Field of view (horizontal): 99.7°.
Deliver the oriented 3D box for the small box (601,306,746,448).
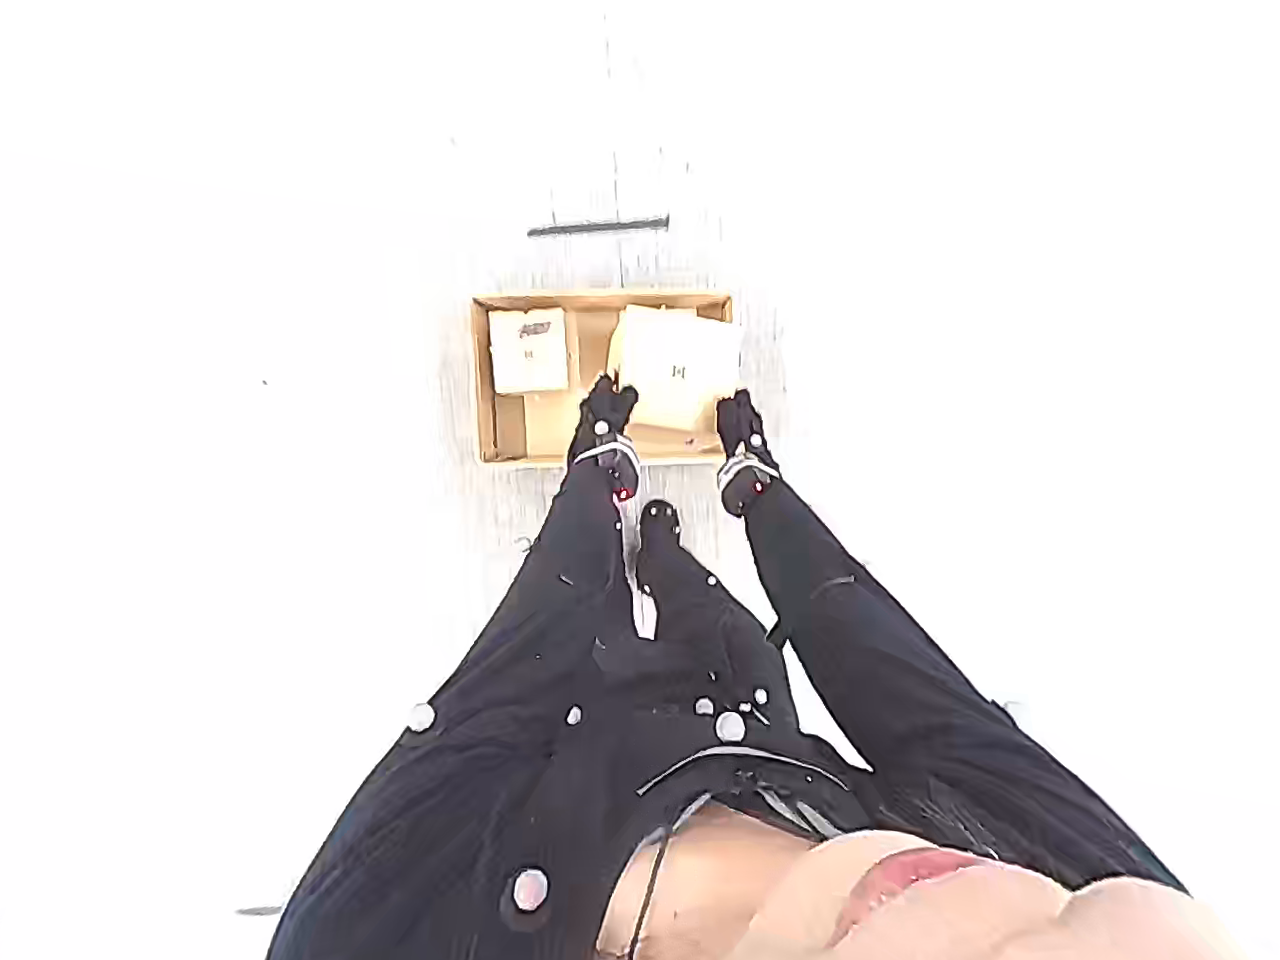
[{"bbox_3d":[0.044,-0.145,0.831,0.179,0.176,0.168,6,84,-11],"label":"small box"}]
